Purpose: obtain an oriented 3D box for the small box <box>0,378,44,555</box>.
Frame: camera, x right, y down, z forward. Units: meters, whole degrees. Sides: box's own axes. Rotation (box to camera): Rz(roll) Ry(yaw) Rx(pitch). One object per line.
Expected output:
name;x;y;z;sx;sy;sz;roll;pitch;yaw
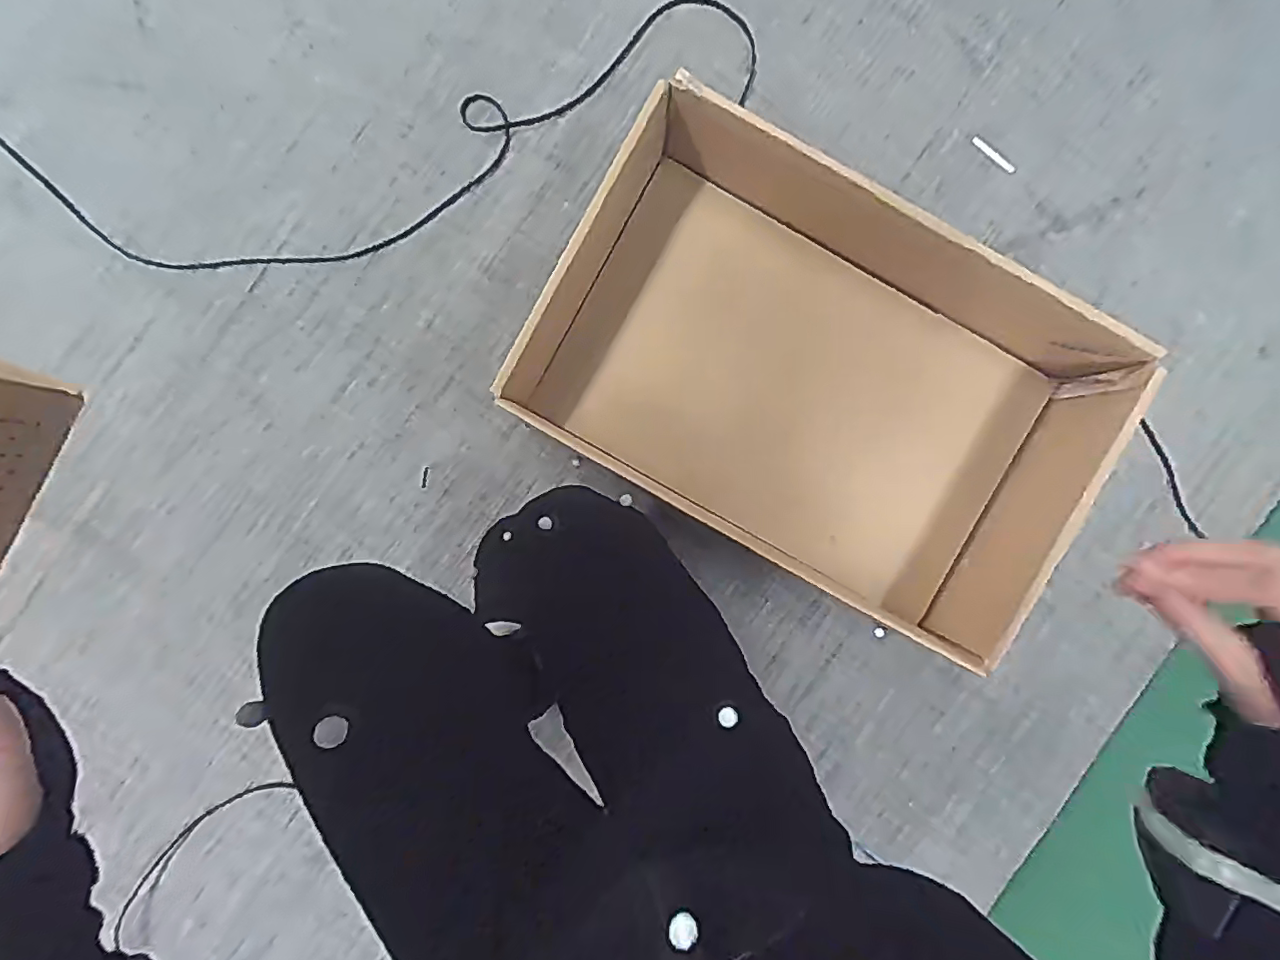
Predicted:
small box;-0.312;0.020;0.115;0.168;0.176;0.179;23;85;-11
